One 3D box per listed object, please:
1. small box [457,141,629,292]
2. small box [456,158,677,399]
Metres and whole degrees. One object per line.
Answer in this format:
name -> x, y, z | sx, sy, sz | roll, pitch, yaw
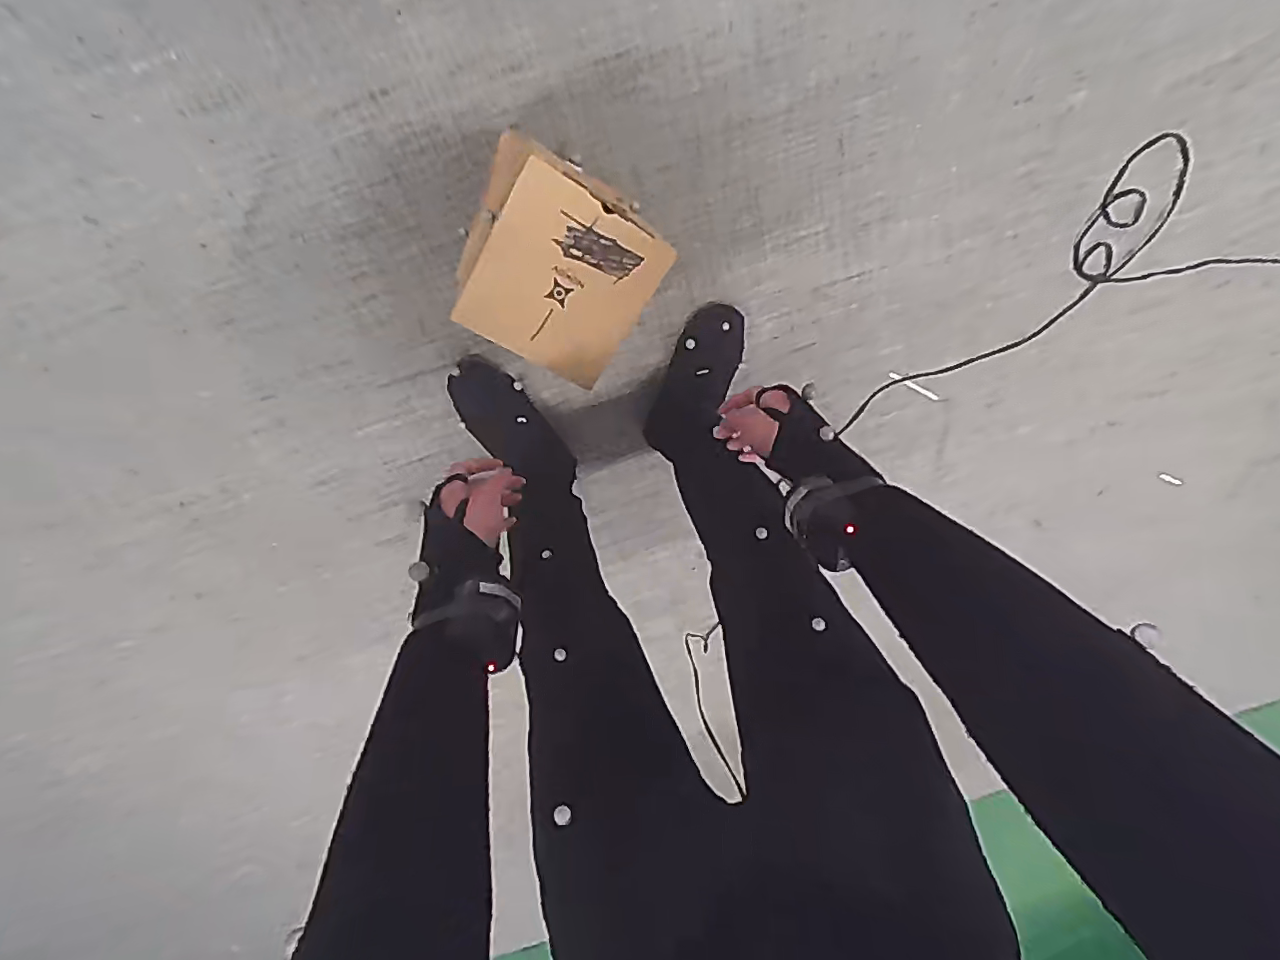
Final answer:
small box -> -0.134, -0.327, 0.732 | 0.168, 0.176, 0.179 | 18, 117, -23
small box -> -0.089, -0.229, 0.607 | 0.168, 0.176, 0.179 | 25, 116, -26
